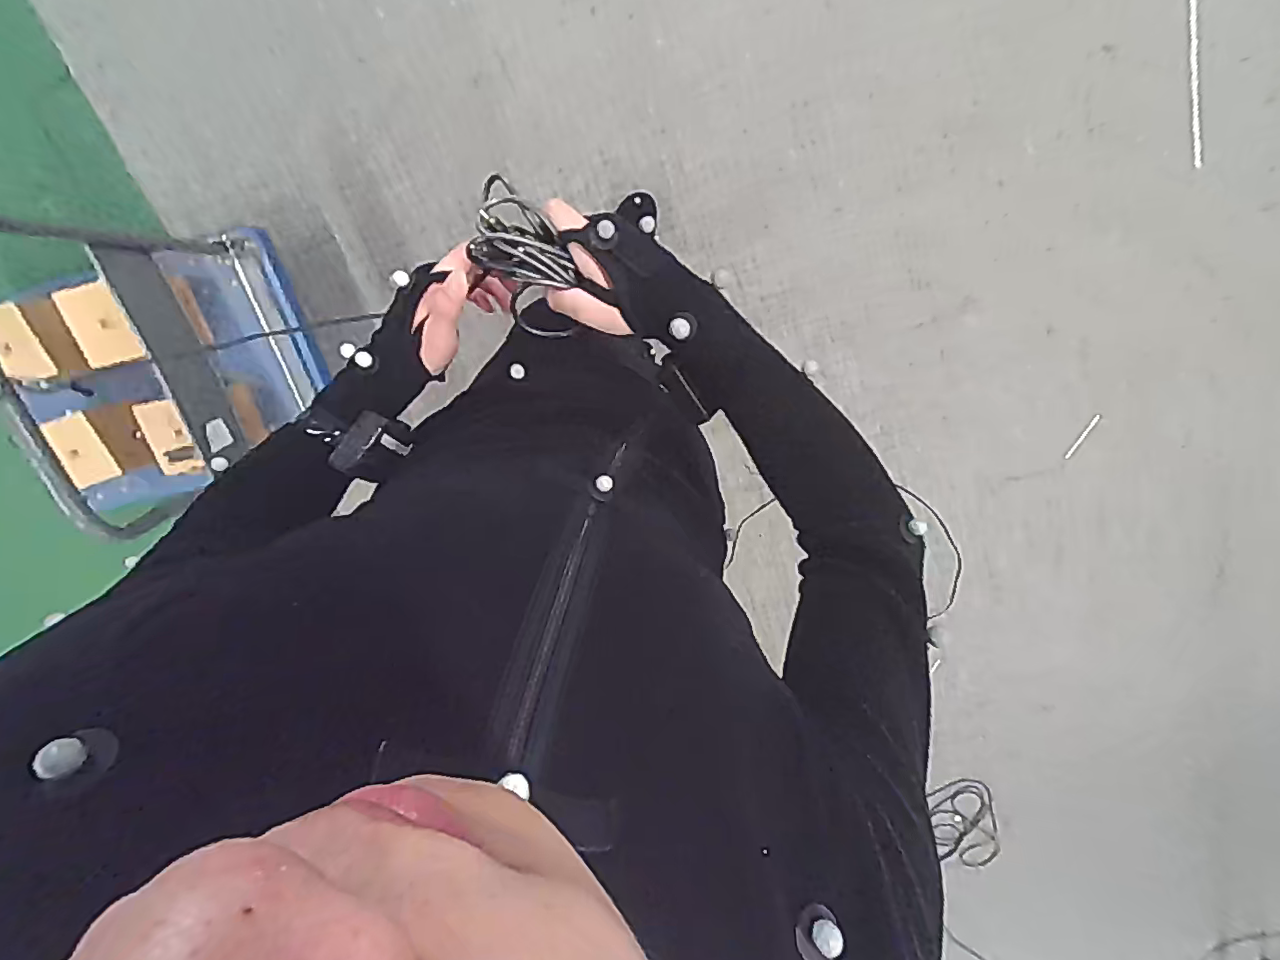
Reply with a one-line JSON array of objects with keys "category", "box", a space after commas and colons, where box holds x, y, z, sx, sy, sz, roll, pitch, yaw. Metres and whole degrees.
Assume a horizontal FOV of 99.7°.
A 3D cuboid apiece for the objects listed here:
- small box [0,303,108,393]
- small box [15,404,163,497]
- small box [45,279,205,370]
[{"category": "small box", "box": [-1.434, -0.314, 1.279, 0.179, 0.176, 0.168, -15, 110, 5]}, {"category": "small box", "box": [-1.367, -0.081, 1.364, 0.179, 0.176, 0.168, -16, 108, 7]}, {"category": "small box", "box": [-1.182, -0.363, 1.258, 0.179, 0.176, 0.168, -12, 109, 4]}]
